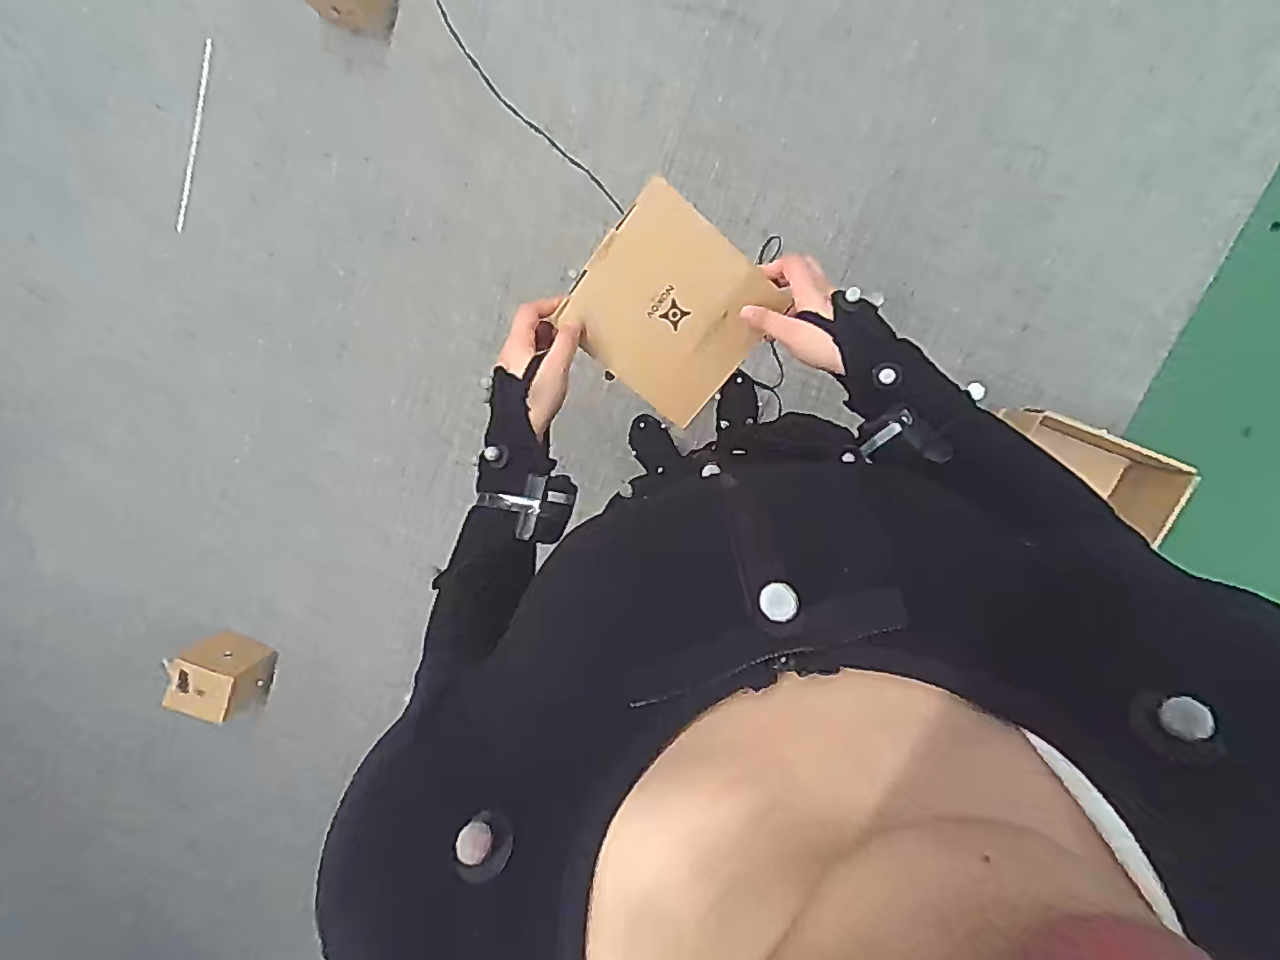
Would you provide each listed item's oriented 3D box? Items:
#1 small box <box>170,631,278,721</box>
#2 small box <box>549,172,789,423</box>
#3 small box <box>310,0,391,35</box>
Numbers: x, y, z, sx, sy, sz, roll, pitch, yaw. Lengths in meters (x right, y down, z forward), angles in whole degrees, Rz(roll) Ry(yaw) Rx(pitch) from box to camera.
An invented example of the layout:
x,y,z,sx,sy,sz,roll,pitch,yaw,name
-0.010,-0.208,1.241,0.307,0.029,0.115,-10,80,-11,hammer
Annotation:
x,y,z,sx,sy,sz,roll,pitch,yaw,name
-1.242,0.578,1.623,0.179,0.176,0.168,22,102,-1,small box
0.024,-0.195,0.591,0.179,0.176,0.168,35,107,-17,small box
-0.676,-1.166,1.222,0.168,0.176,0.179,18,103,0,small box
